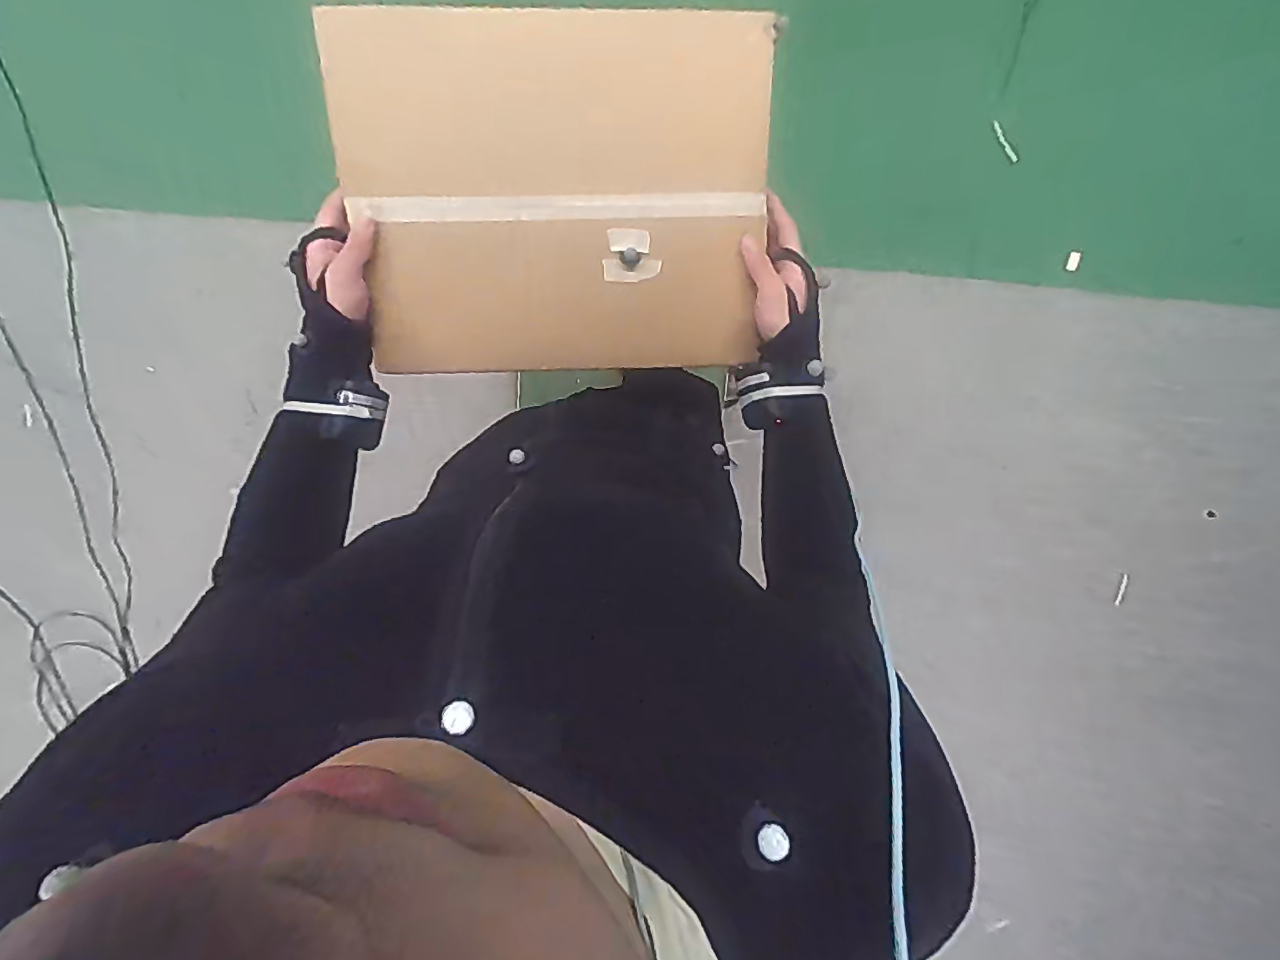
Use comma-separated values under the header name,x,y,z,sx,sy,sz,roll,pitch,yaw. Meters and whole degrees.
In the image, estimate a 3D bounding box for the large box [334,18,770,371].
name,x,y,z,sx,sy,sz,roll,pitch,yaw
large box,-0.085,-0.318,0.678,0.408,0.320,0.320,-2,110,-4
